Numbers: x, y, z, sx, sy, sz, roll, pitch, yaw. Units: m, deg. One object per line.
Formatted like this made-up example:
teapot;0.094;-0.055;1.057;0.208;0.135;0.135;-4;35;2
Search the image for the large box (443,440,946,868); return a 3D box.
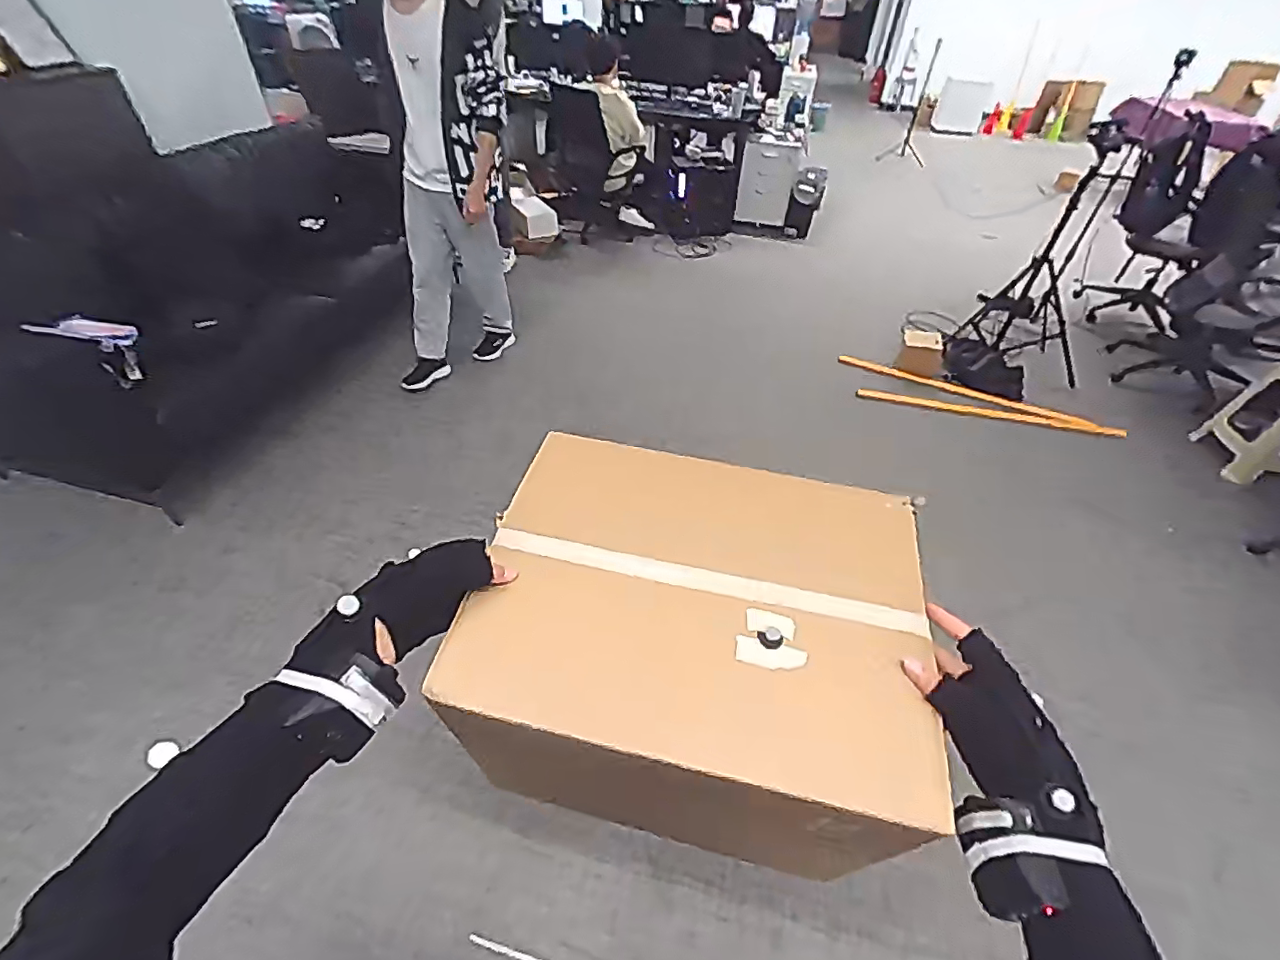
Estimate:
large box;0.055;0.197;0.622;0.408;0.320;0.320;12;49;7
